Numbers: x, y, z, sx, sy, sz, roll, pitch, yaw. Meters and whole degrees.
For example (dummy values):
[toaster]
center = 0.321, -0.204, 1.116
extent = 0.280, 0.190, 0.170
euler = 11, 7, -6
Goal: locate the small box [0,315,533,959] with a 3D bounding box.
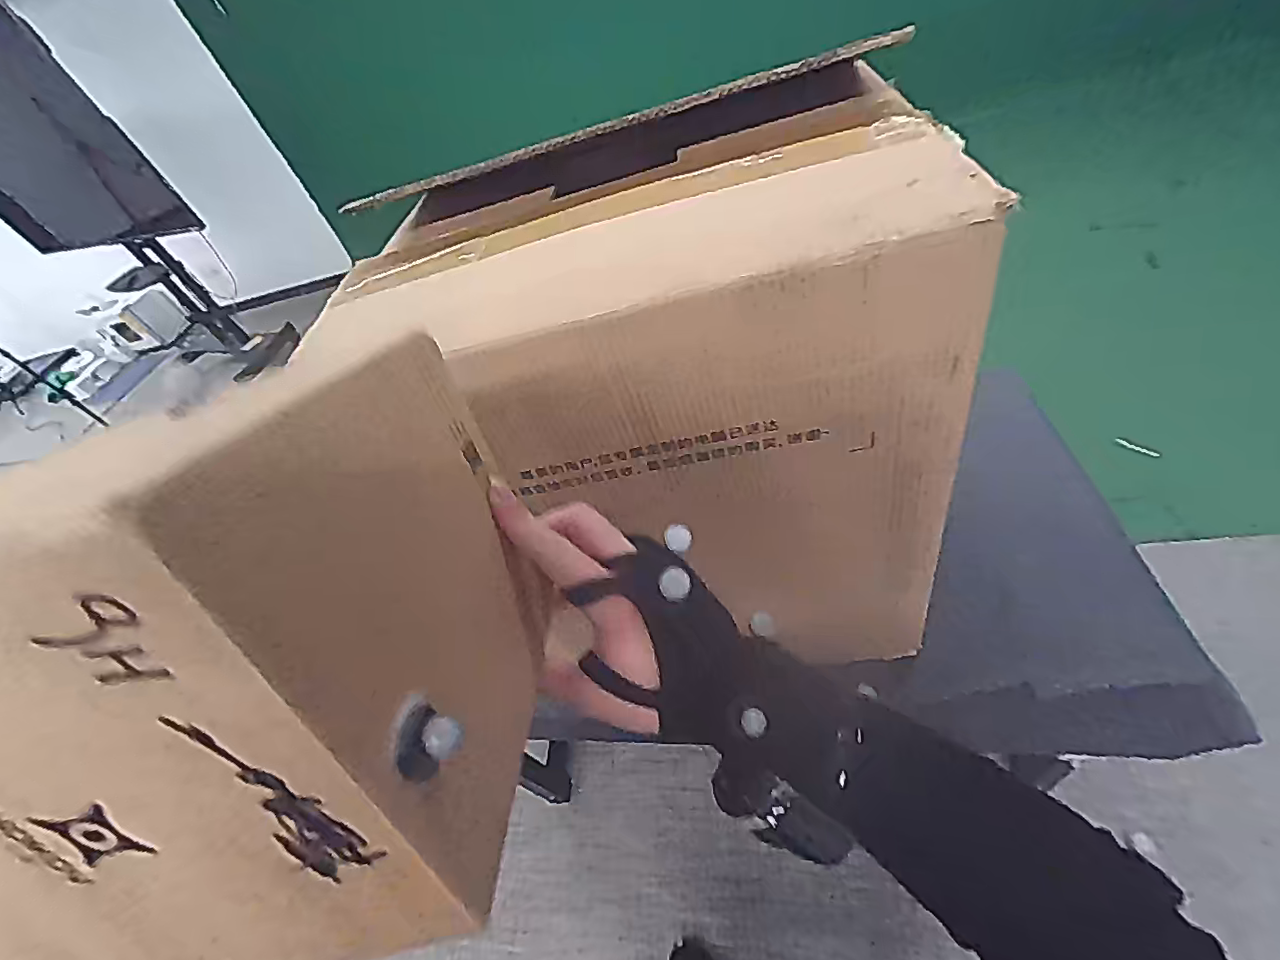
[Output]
[small box]
center = -0.163, 0.051, 0.218
extent = 0.179, 0.168, 0.176
euler = -15, 28, 8
